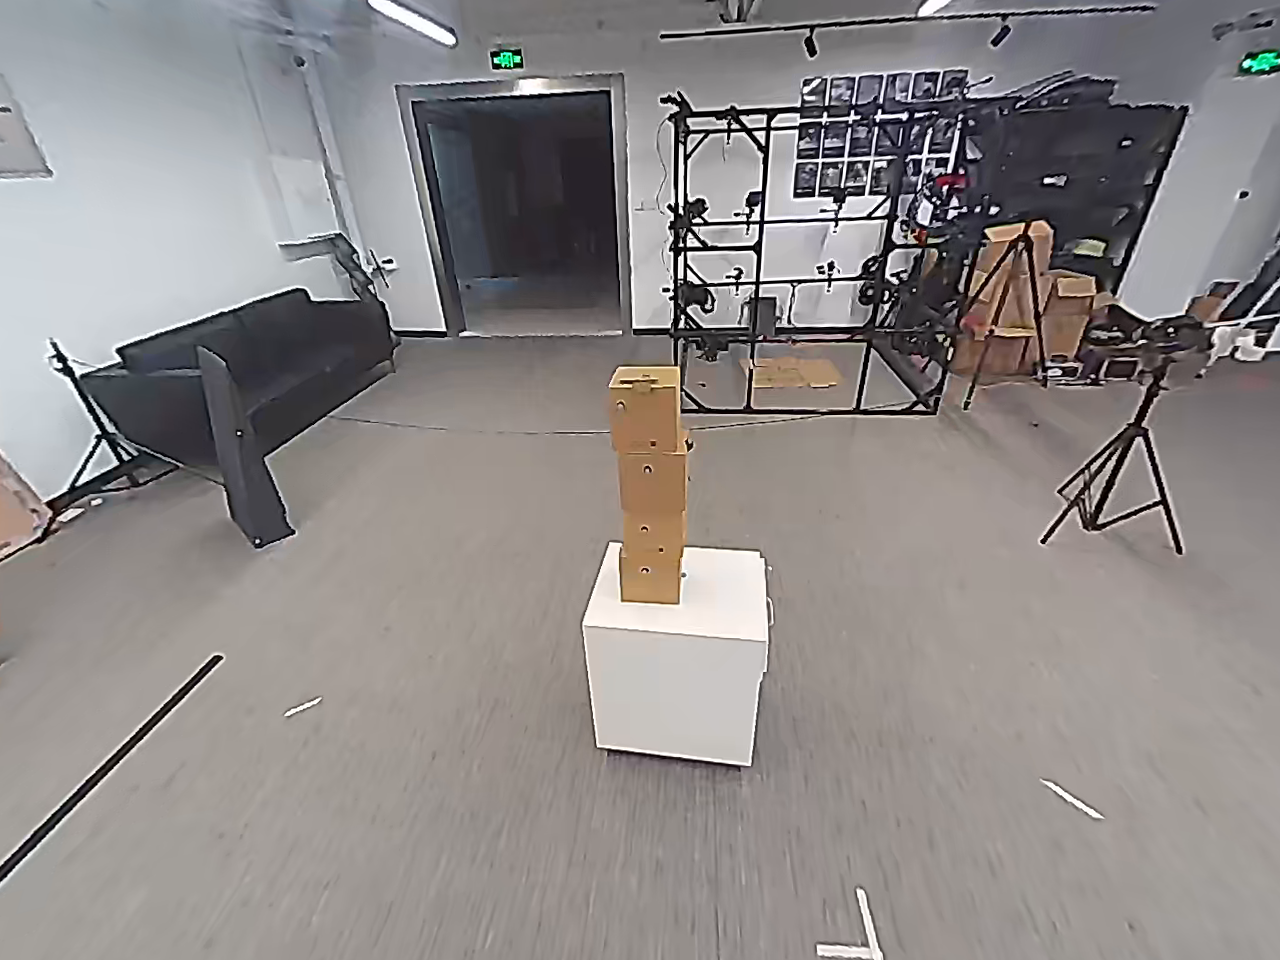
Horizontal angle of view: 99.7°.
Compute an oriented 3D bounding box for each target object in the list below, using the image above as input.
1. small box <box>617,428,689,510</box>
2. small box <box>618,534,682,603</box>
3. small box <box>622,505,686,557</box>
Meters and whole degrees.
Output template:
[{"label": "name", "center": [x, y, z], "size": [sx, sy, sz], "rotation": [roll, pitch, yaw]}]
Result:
[{"label": "small box", "center": [0.040, -0.030, 1.458], "size": [0.179, 0.176, 0.168], "rotation": [3, 30, 7]}, {"label": "small box", "center": [0.035, 0.252, 1.624], "size": [0.179, 0.176, 0.168], "rotation": [3, 30, 6]}, {"label": "small box", "center": [0.045, 0.104, 1.555], "size": [0.168, 0.176, 0.179], "rotation": [3, 29, 7]}]
